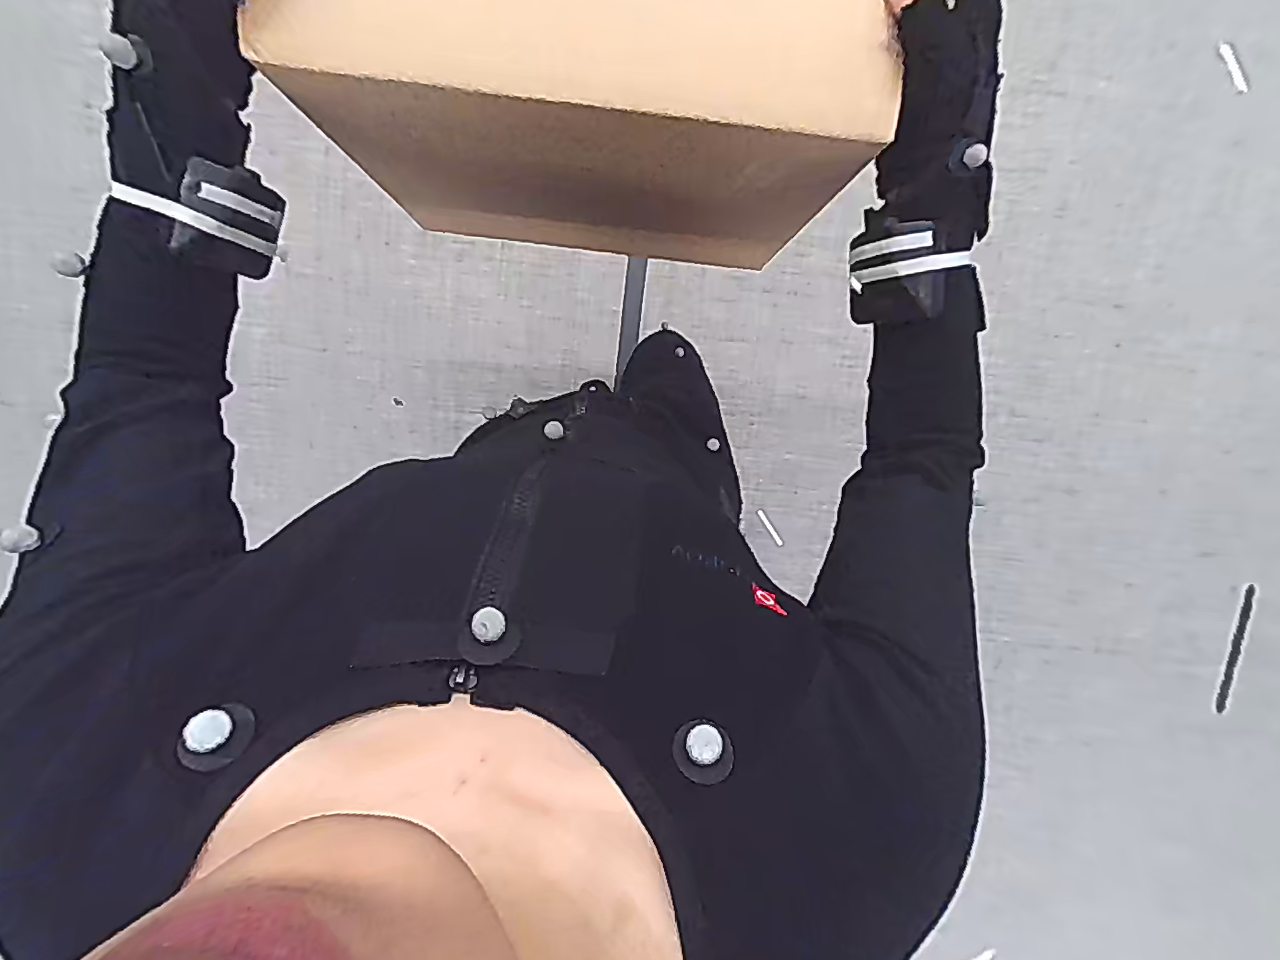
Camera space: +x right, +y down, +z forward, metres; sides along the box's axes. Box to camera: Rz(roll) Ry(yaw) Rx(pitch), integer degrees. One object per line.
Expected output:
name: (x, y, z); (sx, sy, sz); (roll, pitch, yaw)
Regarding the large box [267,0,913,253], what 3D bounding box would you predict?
large box: (-0.027, -0.415, 0.469); (0.408, 0.320, 0.320); (5, 98, -5)
